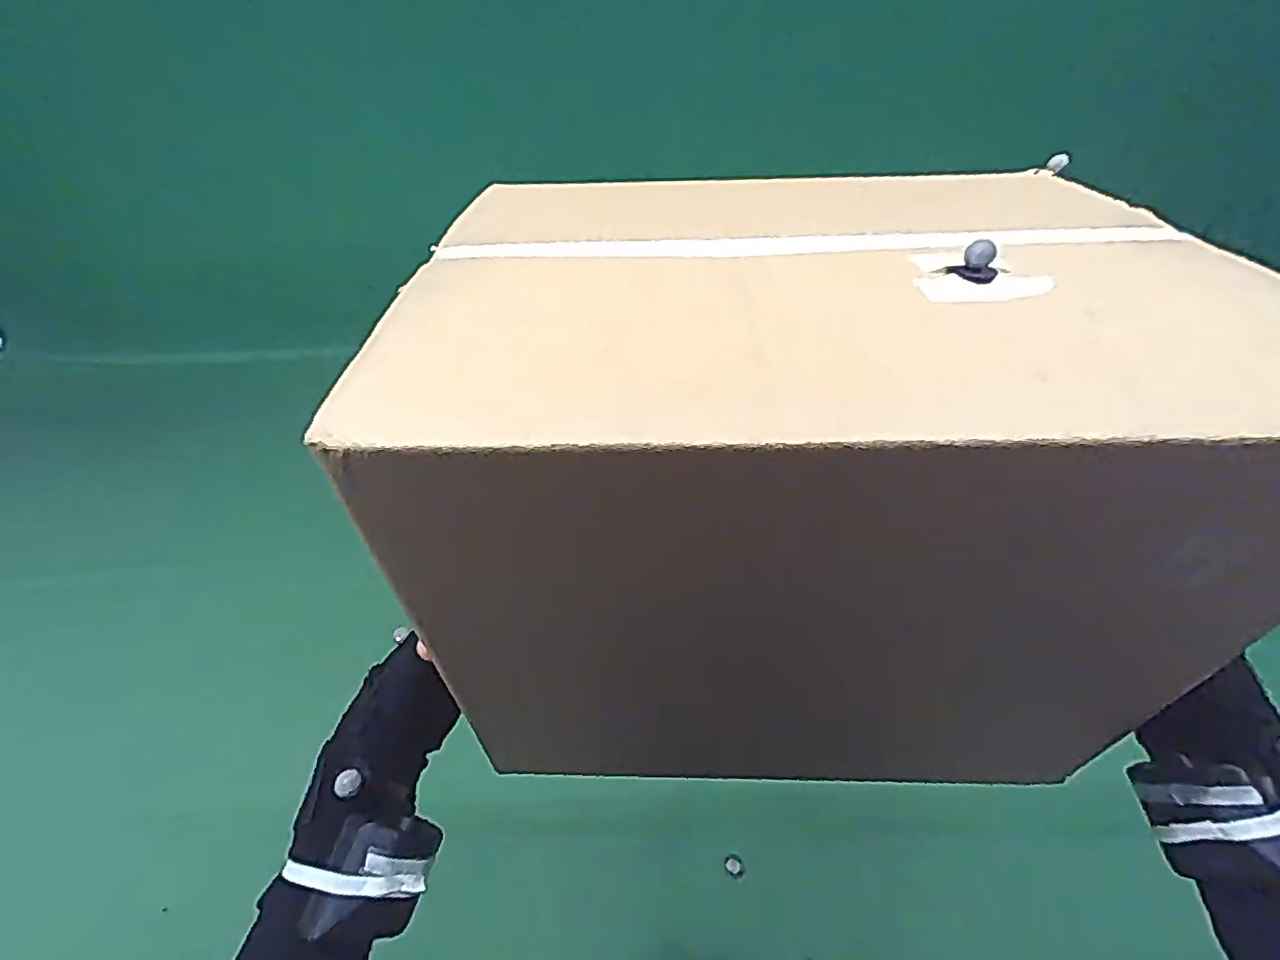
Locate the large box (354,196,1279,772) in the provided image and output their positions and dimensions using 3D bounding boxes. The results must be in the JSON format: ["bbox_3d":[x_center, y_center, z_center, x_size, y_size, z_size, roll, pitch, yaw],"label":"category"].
[{"bbox_3d":[0.095,-0.002,0.402,0.408,0.320,0.320,1,43,2],"label":"large box"}]
